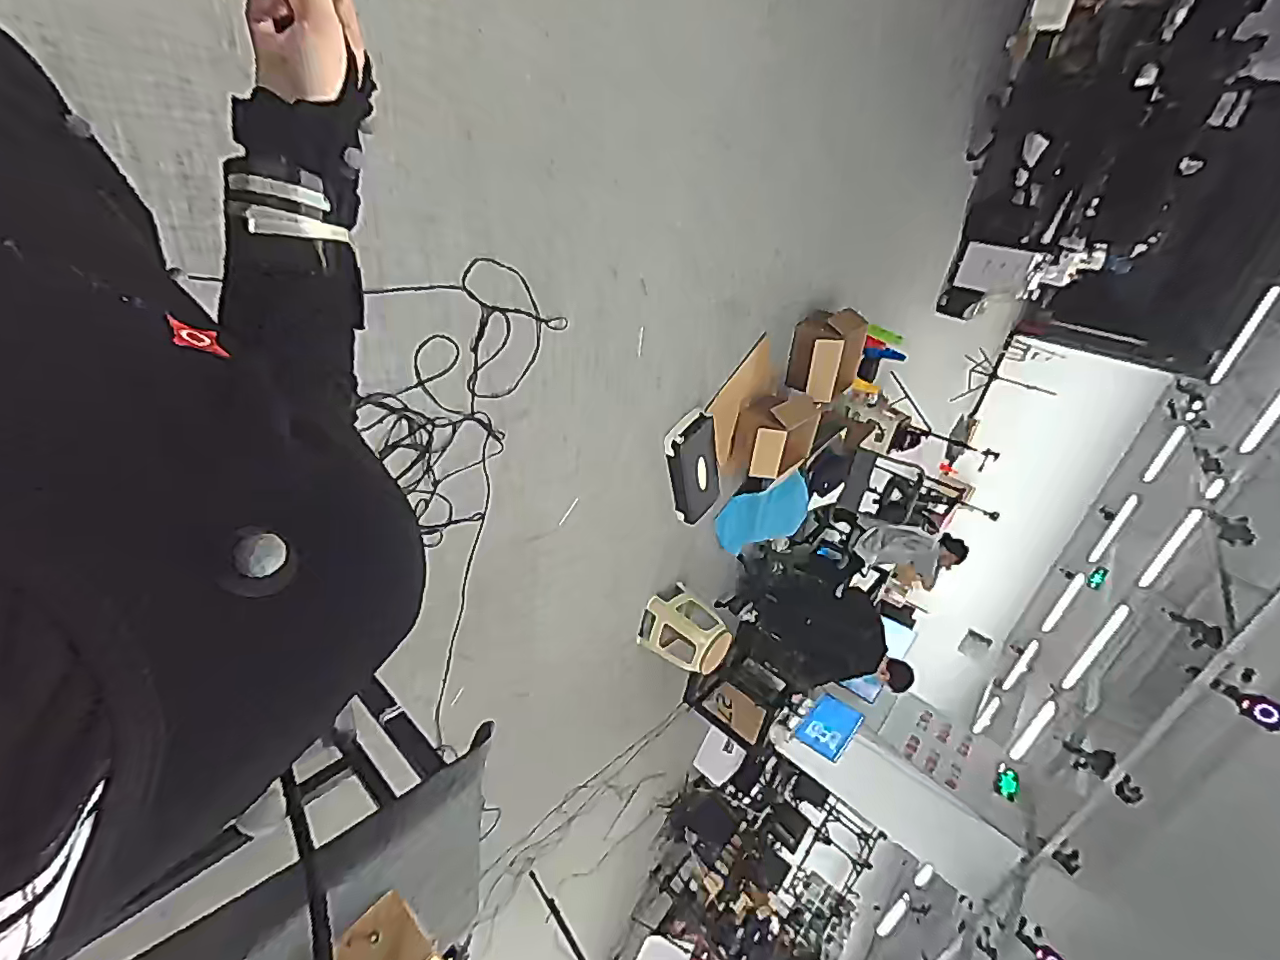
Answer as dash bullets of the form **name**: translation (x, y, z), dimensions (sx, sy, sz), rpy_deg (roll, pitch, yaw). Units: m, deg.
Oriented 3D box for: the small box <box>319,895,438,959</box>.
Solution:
- **small box**: translation (-0.519, 1.002, 1.102), dimensions (0.168, 0.176, 0.179), rpy_deg (-34, 139, -36)
